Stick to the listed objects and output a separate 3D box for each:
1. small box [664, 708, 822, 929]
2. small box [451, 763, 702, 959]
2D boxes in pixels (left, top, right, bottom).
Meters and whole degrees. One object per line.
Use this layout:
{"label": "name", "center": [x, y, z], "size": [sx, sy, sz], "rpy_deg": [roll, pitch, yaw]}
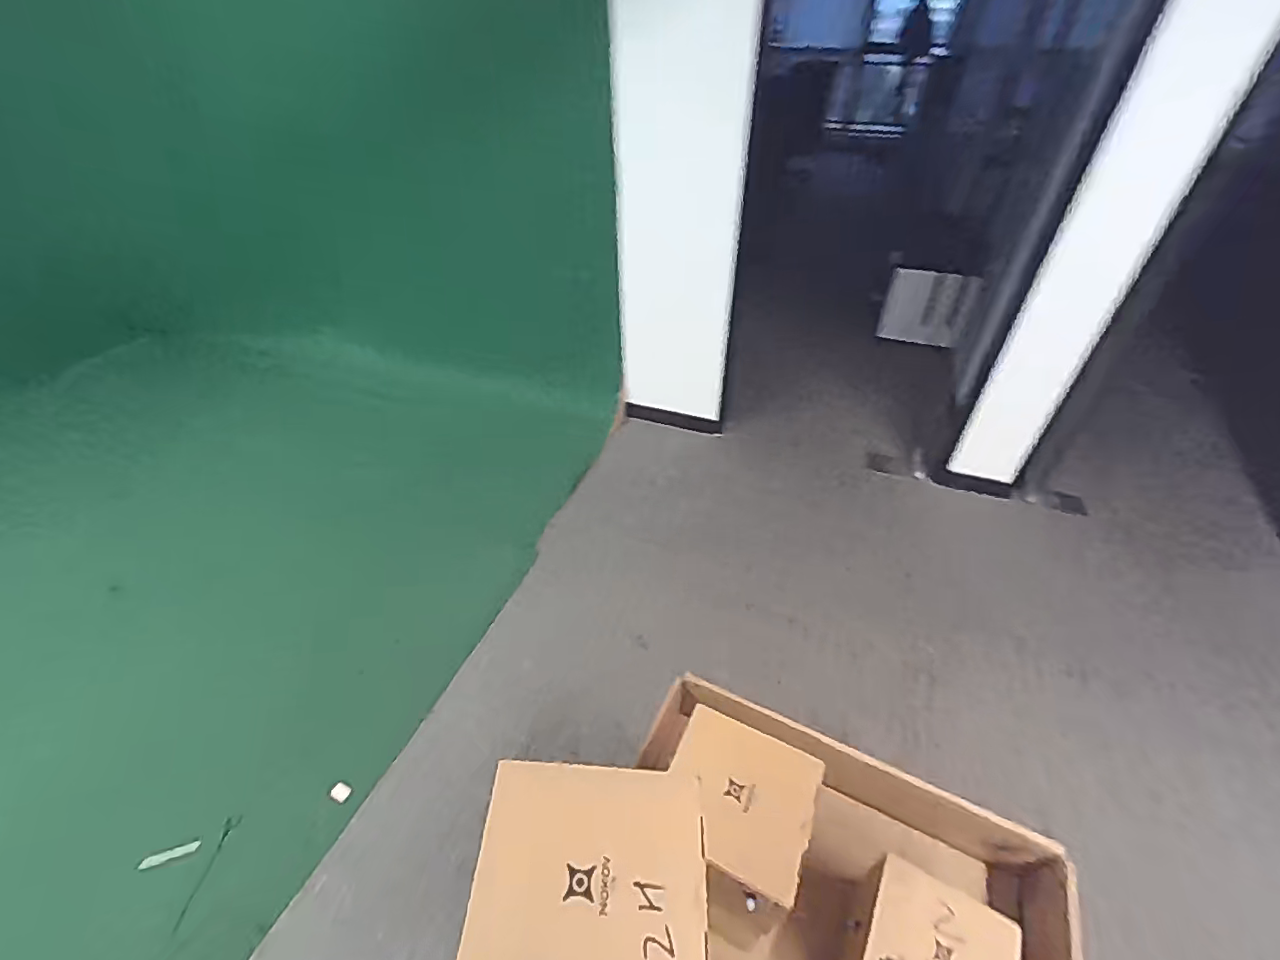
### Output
{"label": "small box", "center": [0.115, 0.443, 0.708], "size": [0.179, 0.176, 0.168], "rpy_deg": [20, 45, 19]}
{"label": "small box", "center": [-0.048, 0.361, 0.457], "size": [0.179, 0.176, 0.168], "rpy_deg": [6, 44, -3]}
